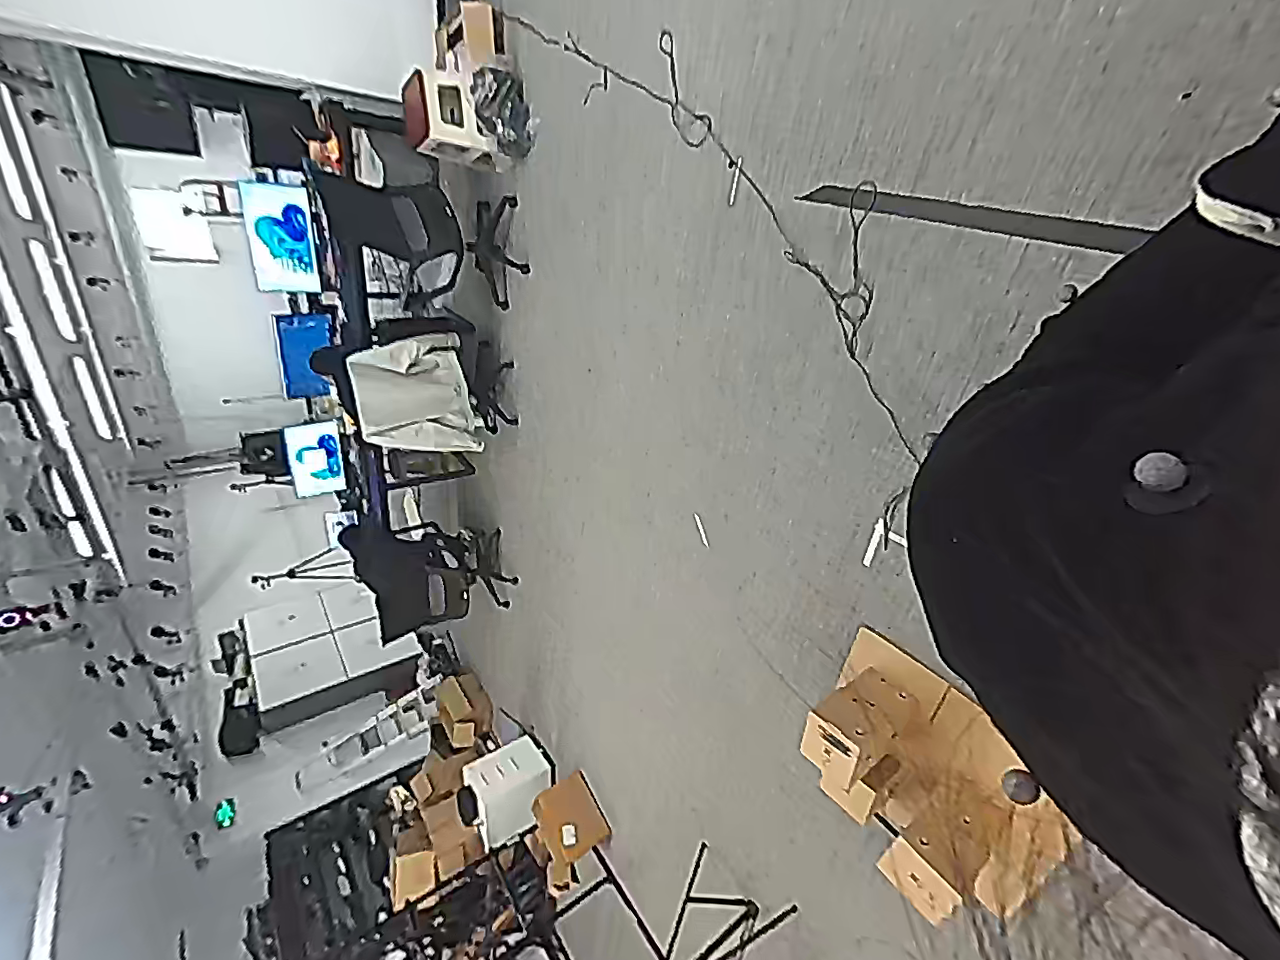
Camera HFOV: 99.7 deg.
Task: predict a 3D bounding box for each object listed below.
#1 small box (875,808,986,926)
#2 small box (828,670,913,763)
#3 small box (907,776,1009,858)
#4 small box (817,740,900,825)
[{"bbox_3d":[0.777,1.022,1.449,0.179,0.176,0.168,39,131,38],"label":"small box"},{"bbox_3d":[0.727,0.735,1.700,0.168,0.176,0.179,31,126,44],"label":"small box"},{"bbox_3d":[0.905,0.987,1.547,0.179,0.176,0.168,38,130,39],"label":"small box"},{"bbox_3d":[0.723,0.979,1.792,0.179,0.176,0.168,31,126,44],"label":"small box"}]
